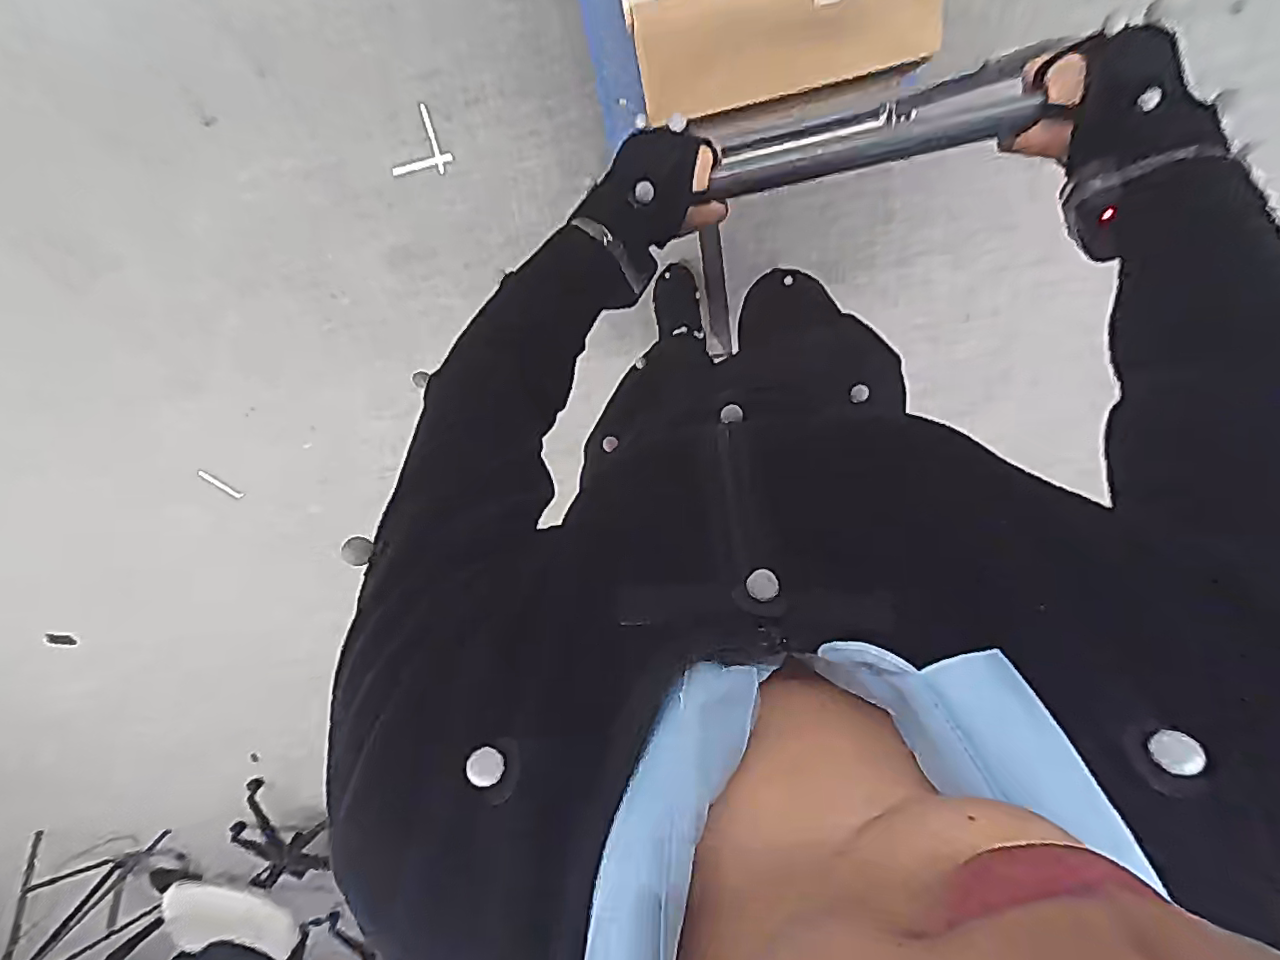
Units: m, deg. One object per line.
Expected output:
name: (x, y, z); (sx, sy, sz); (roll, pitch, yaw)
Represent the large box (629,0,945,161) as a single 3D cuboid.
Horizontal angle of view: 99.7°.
large box: (0.193, -0.728, 0.832); (0.408, 0.320, 0.320); (-9, 115, 8)
